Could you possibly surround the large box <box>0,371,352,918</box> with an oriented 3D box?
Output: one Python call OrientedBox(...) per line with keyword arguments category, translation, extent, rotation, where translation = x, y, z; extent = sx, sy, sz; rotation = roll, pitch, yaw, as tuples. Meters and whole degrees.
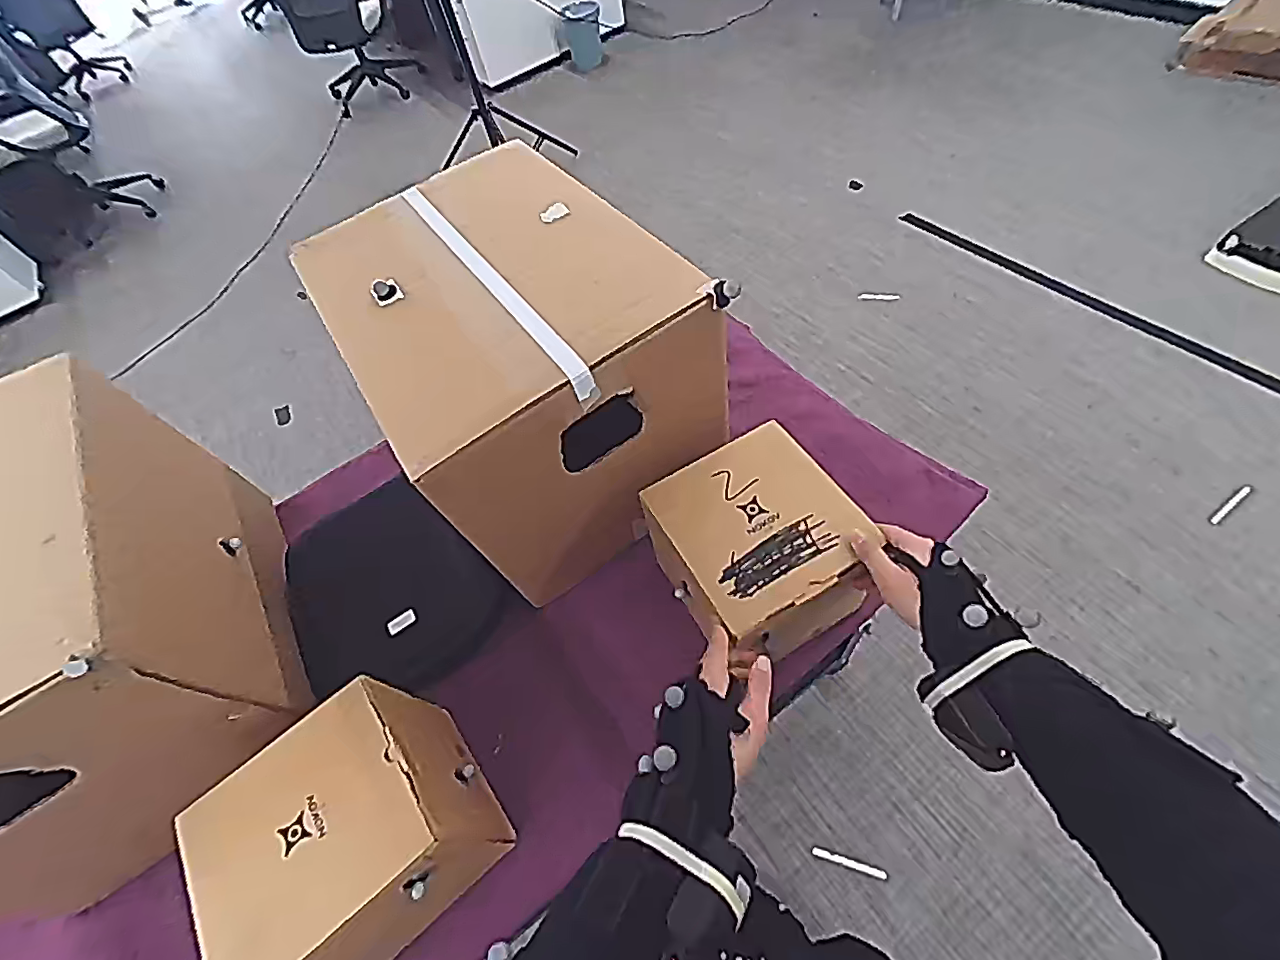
OrientedBox(category="large box", translation=(-0.594, 0.166, 0.582), extent=(0.320, 0.320, 0.408), rotation=(-35, 61, -12))
